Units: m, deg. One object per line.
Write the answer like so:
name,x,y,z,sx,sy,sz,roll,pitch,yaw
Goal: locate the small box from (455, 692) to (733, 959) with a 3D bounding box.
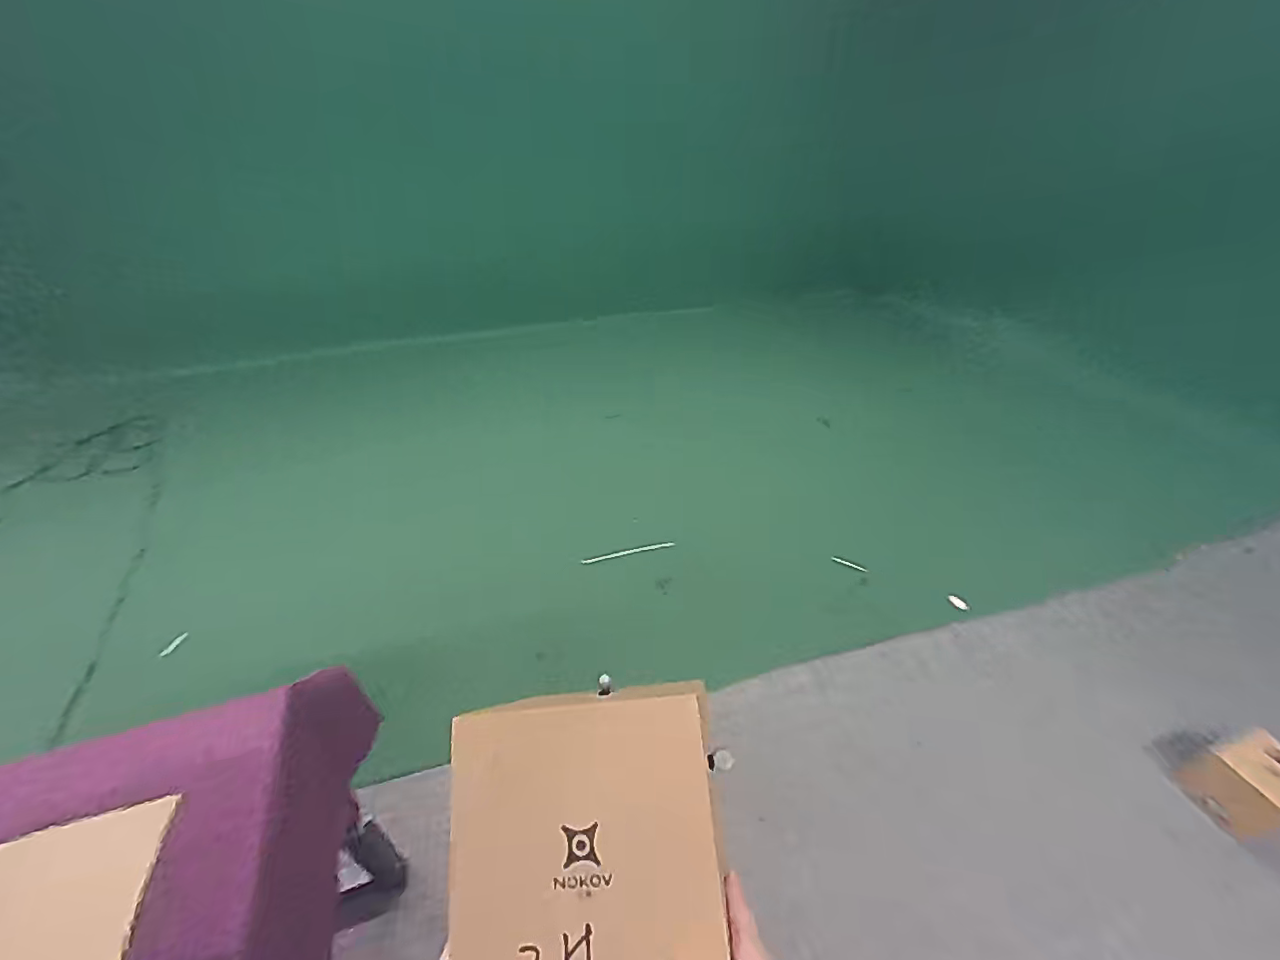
small box,-0.022,0.258,0.408,0.168,0.176,0.179,-7,72,7
